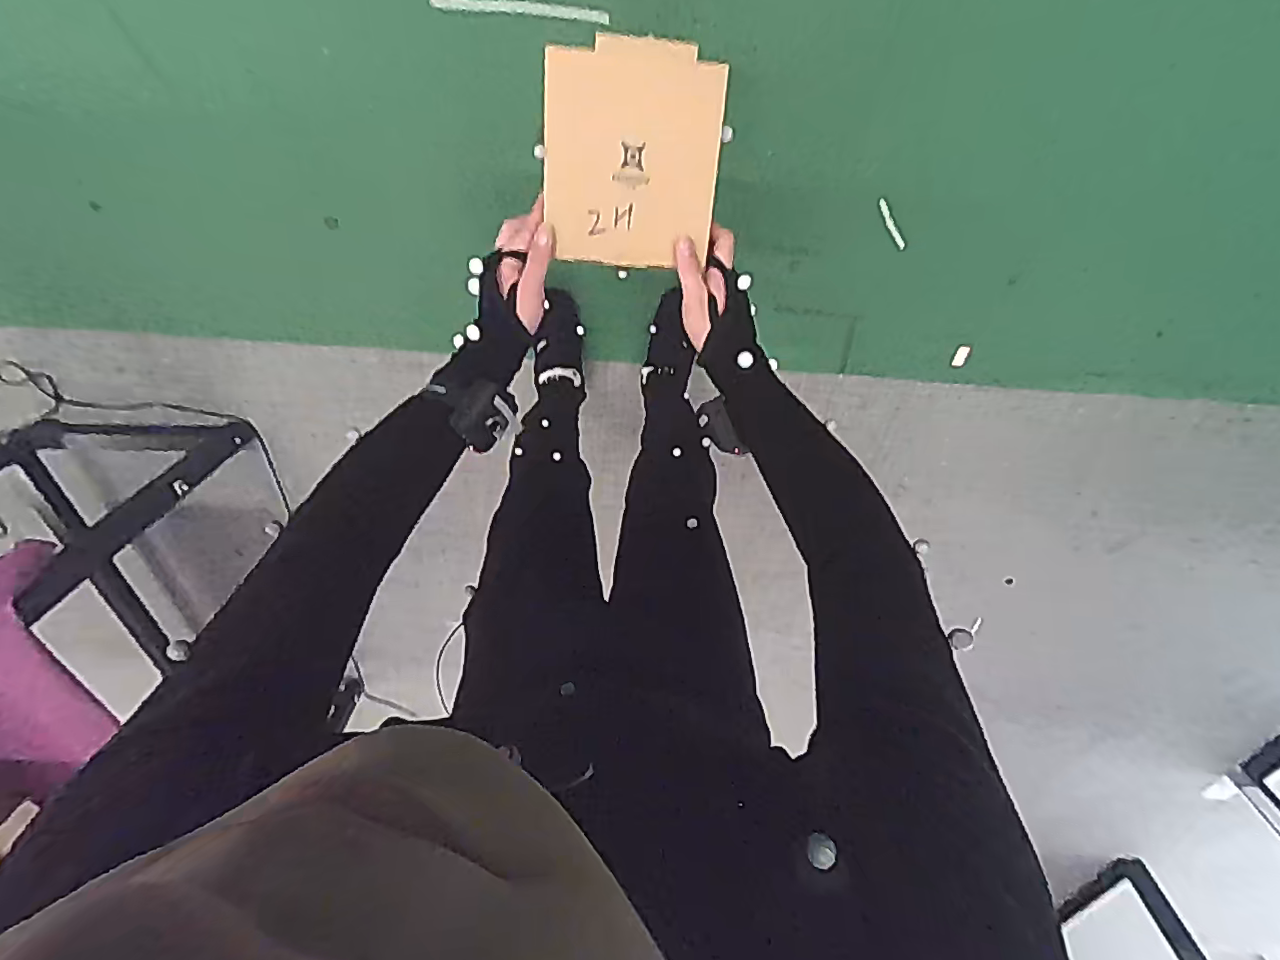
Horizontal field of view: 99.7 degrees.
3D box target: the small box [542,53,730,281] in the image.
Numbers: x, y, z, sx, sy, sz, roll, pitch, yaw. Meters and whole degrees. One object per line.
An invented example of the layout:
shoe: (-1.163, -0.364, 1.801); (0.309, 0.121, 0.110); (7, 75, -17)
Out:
small box: (-0.011, -0.316, 0.578); (0.168, 0.176, 0.179); (4, 114, -3)
